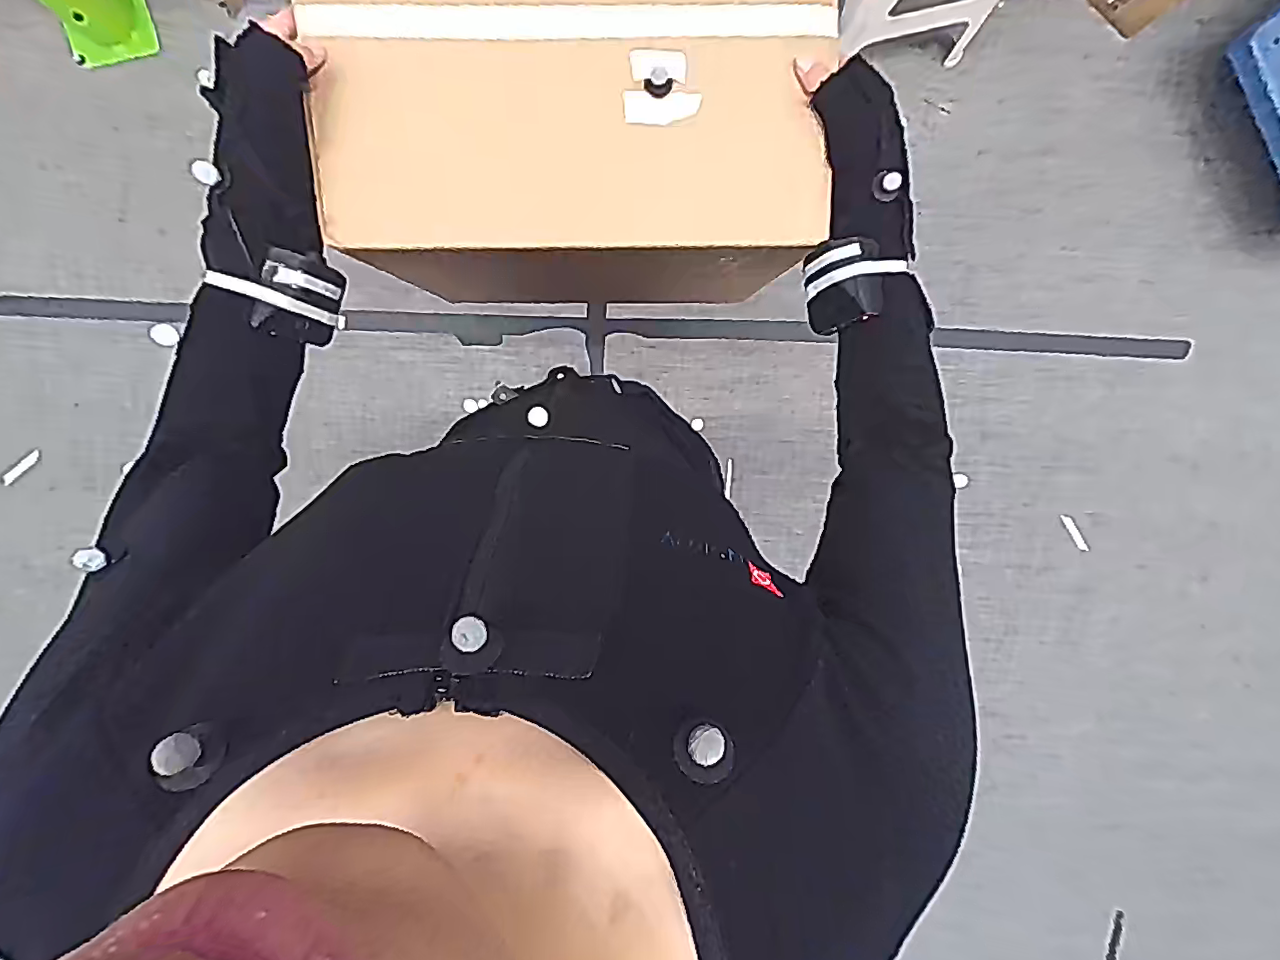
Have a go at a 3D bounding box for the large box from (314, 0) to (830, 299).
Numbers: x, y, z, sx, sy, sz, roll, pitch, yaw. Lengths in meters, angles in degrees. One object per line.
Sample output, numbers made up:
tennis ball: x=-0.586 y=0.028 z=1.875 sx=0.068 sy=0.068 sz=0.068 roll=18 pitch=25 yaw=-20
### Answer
large box: x=-0.056 y=-0.376 z=0.563 sx=0.408 sy=0.320 sz=0.320 roll=-1 pitch=100 yaw=-2
